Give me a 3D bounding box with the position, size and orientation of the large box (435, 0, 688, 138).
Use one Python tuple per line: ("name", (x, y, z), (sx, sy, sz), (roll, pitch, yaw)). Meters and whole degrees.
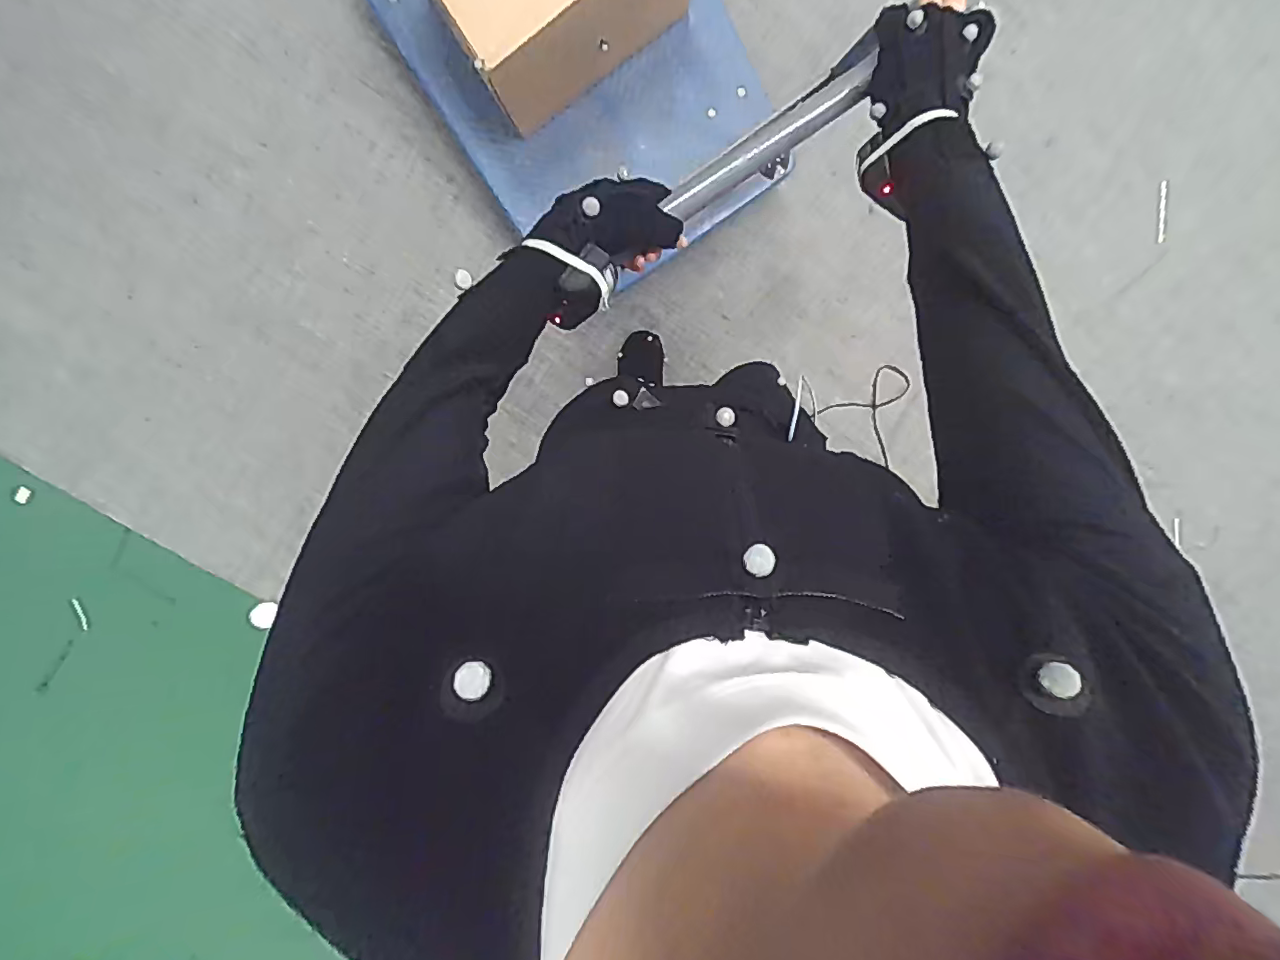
("large box", (-0.150, -0.888, 0.913), (0.408, 0.320, 0.320), (-34, 103, 8))
